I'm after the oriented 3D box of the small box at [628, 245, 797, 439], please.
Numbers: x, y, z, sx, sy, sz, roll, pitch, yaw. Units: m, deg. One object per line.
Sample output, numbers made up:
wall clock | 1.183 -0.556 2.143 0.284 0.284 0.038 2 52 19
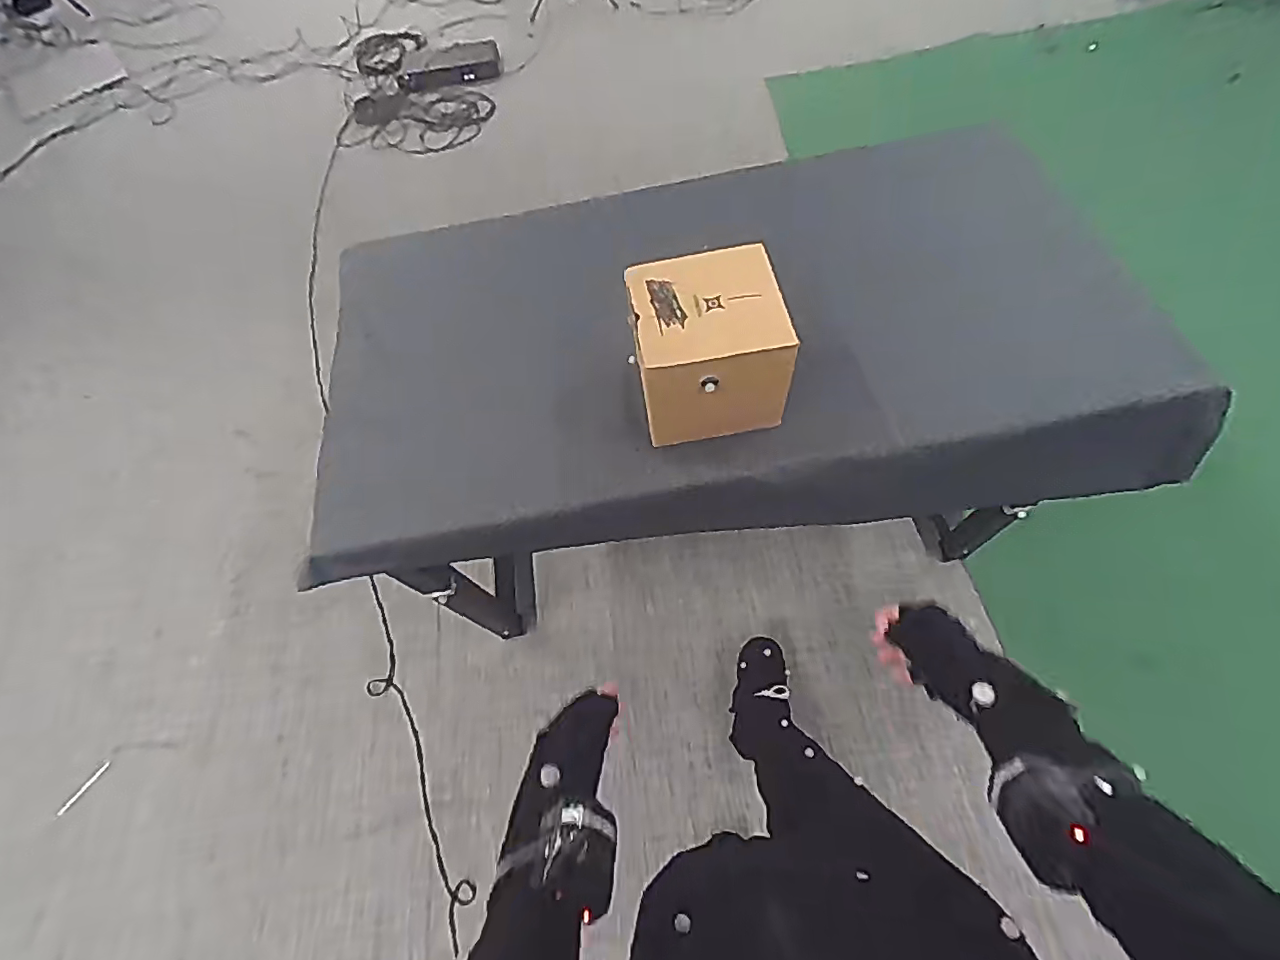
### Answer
small box | 0.089 -0.170 0.708 0.179 0.176 0.168 -10 63 1
